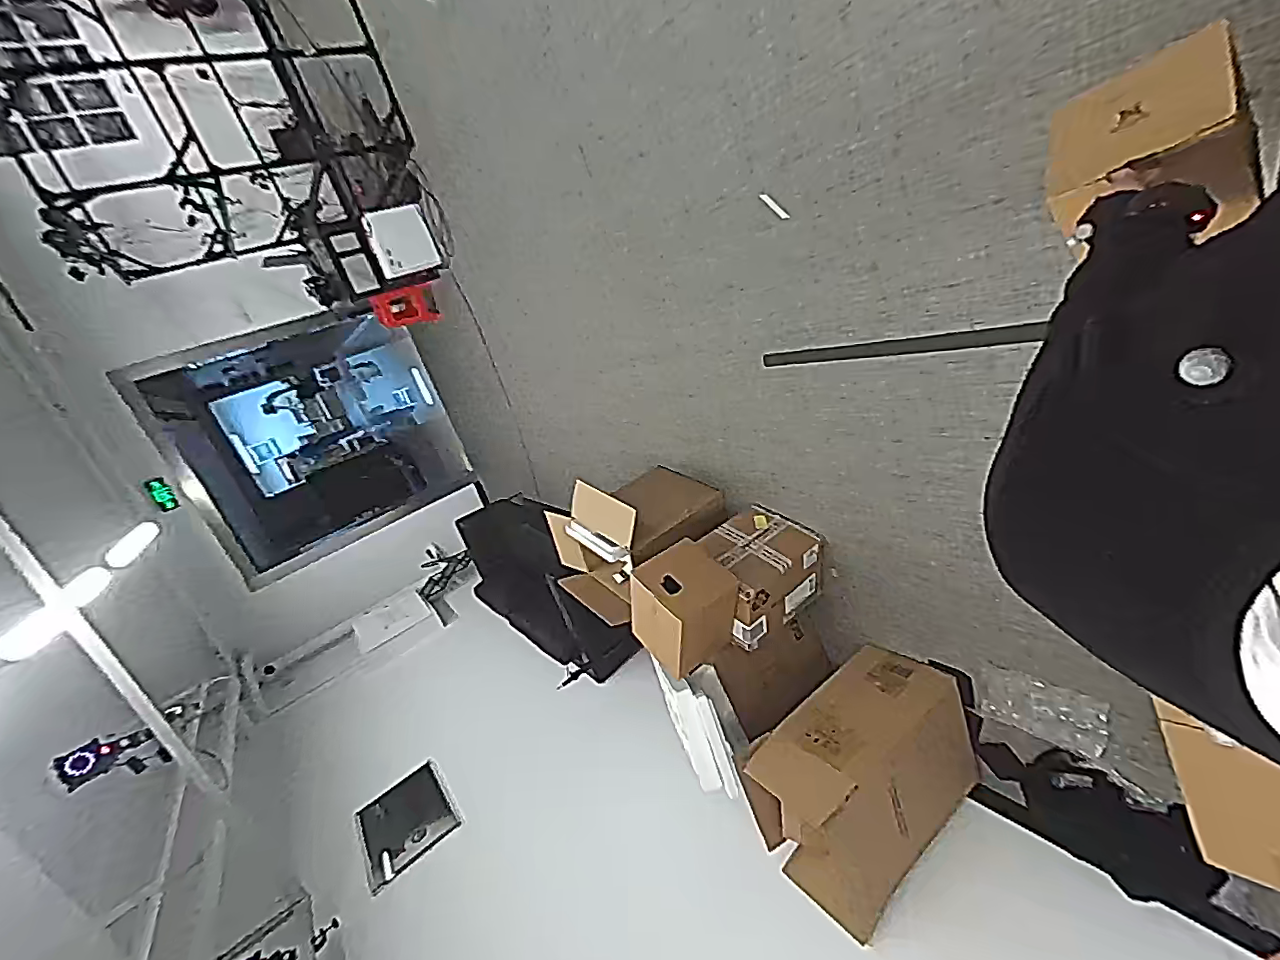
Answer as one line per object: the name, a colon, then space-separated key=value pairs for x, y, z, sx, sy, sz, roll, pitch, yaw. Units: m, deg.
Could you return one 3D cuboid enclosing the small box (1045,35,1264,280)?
small box: x=0.642 y=-0.381 z=0.679 sx=0.176 sy=0.179 sz=0.168 roll=35 pitch=155 yaw=-28
